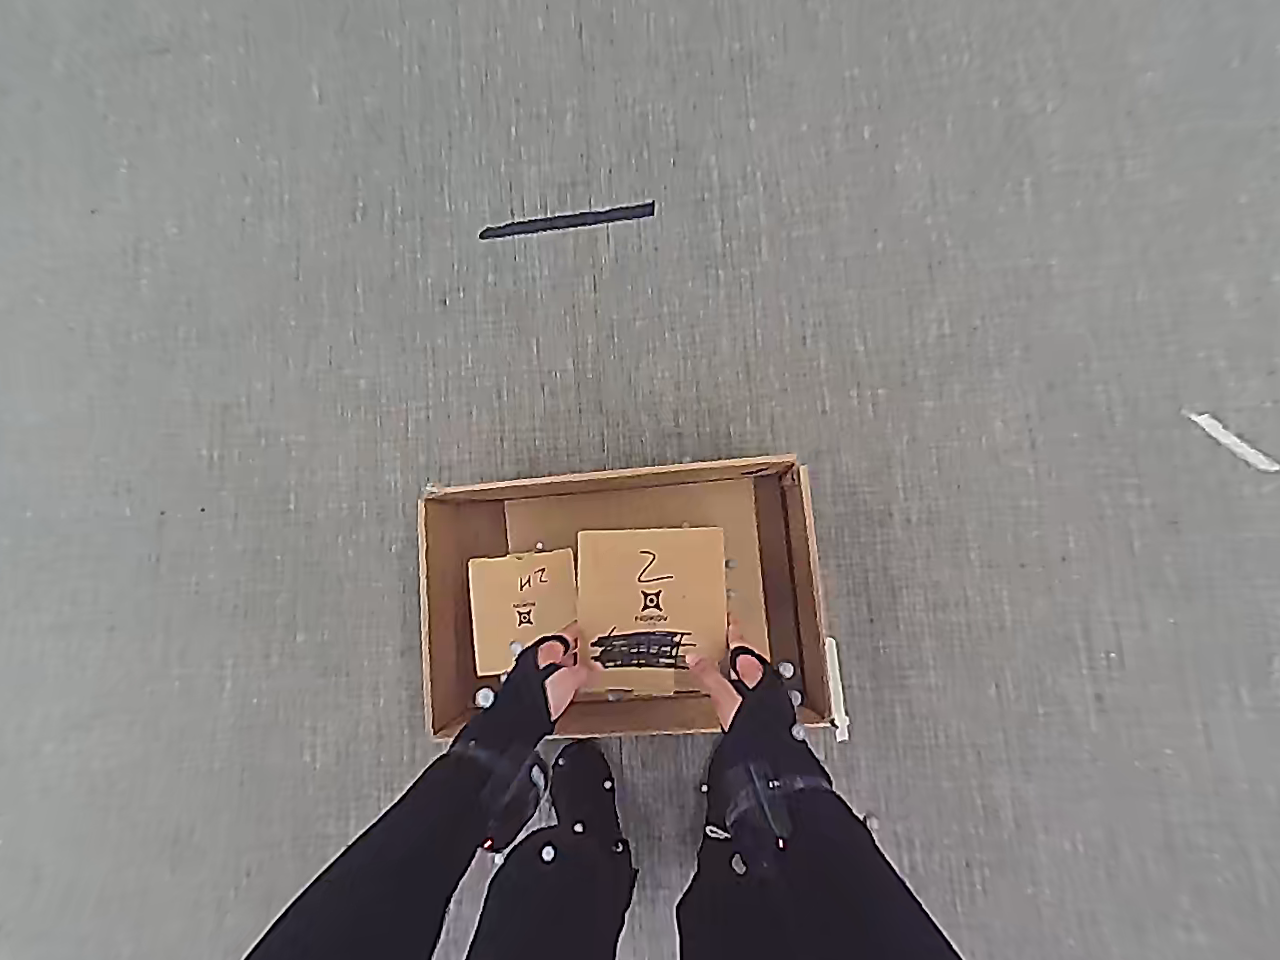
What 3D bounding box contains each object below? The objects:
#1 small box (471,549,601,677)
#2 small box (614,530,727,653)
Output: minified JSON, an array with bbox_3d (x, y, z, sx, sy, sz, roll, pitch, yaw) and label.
[{"bbox_3d":[-0.162,0.209,0.887,0.168,0.176,0.179,-7,83,3],"label":"small box"},{"bbox_3d":[0.053,0.171,0.871,0.168,0.176,0.179,-1,84,7],"label":"small box"}]
